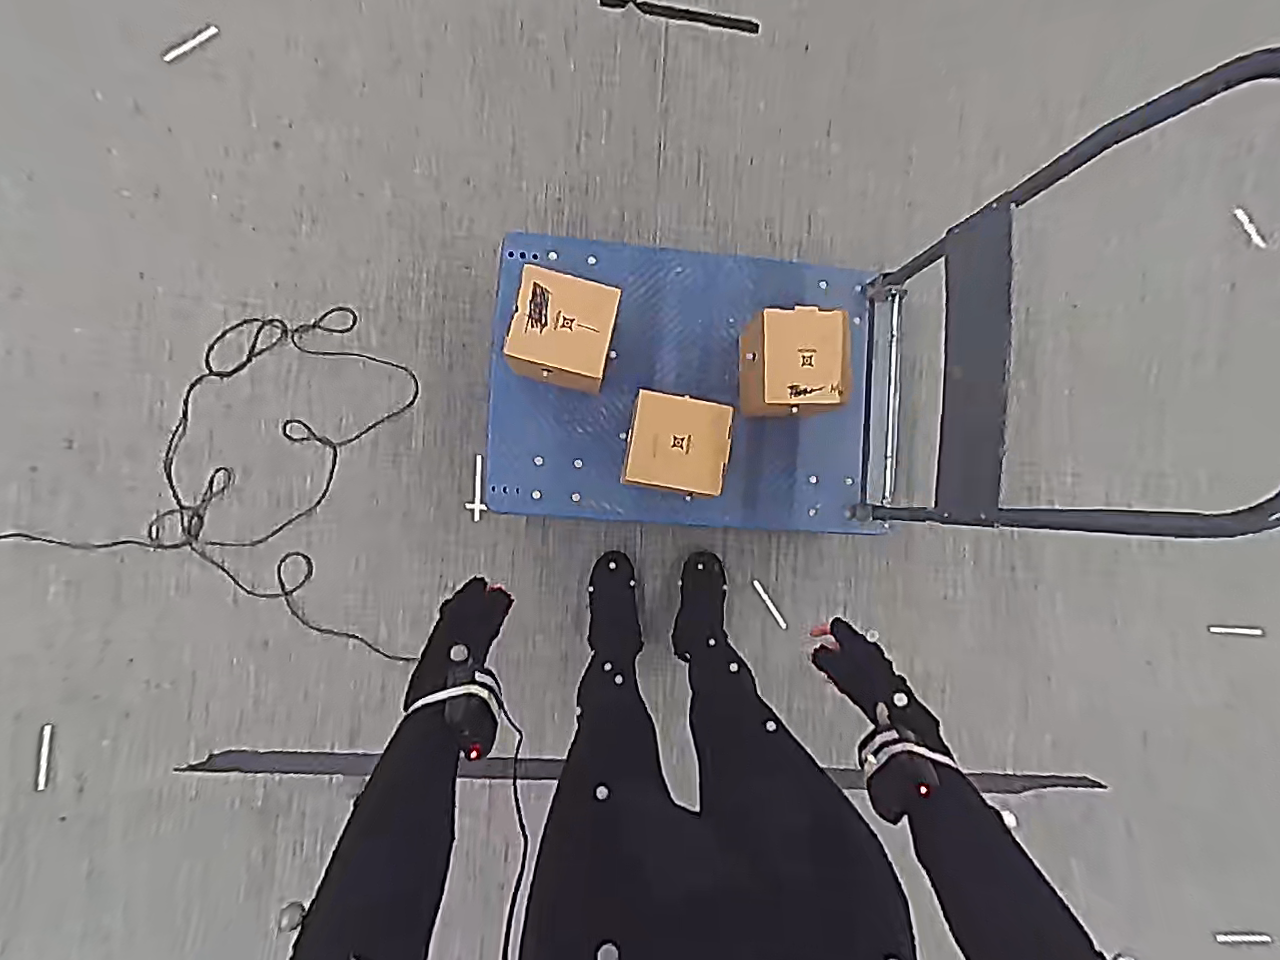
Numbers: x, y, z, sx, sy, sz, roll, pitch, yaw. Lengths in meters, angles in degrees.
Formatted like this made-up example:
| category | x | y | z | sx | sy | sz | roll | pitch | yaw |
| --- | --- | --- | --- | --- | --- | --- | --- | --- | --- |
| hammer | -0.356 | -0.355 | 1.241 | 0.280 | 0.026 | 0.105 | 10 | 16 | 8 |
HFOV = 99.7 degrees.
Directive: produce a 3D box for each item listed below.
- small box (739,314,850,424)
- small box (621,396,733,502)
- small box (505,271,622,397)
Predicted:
| category | x | y | z | sx | sy | sz | roll | pitch | yaw |
| --- | --- | --- | --- | --- | --- | --- | --- | --- | --- |
| small box | 0.298 | -0.212 | 1.073 | 0.168 | 0.176 | 0.179 | 0 | 87 | -5 |
| small box | 0.064 | -0.052 | 1.046 | 0.179 | 0.176 | 0.168 | 10 | 85 | -4 |
| small box | -0.142 | -0.266 | 1.030 | 0.179 | 0.176 | 0.168 | 14 | 87 | -6 |
